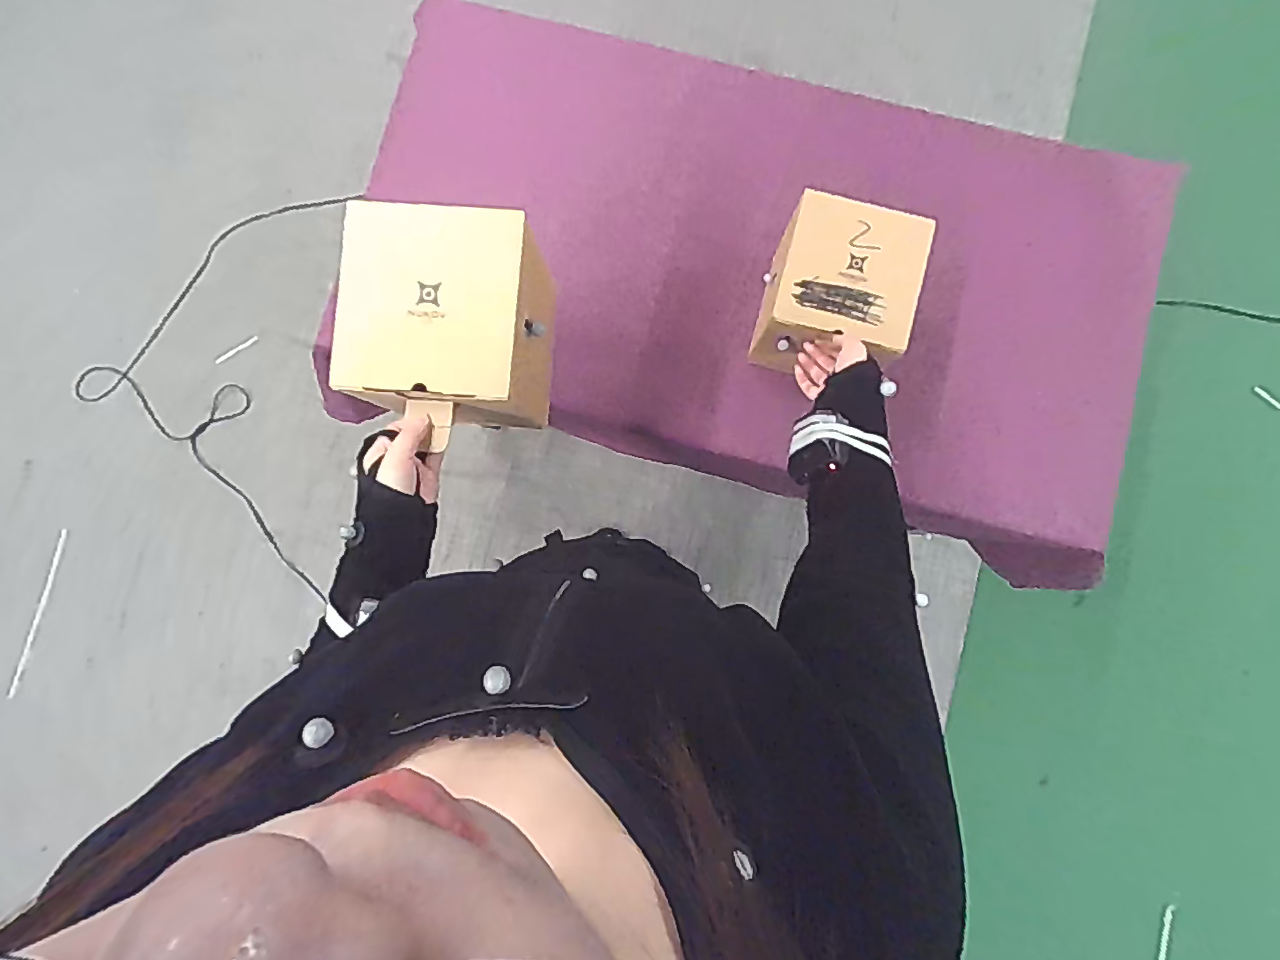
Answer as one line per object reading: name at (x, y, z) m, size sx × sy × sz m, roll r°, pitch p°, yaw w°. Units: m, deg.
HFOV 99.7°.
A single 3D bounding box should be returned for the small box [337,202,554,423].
small box at (-0.191, -0.165, 0.582) m, size 0.168 × 0.176 × 0.179 m, roll 4°, pitch 88°, yaw 1°
